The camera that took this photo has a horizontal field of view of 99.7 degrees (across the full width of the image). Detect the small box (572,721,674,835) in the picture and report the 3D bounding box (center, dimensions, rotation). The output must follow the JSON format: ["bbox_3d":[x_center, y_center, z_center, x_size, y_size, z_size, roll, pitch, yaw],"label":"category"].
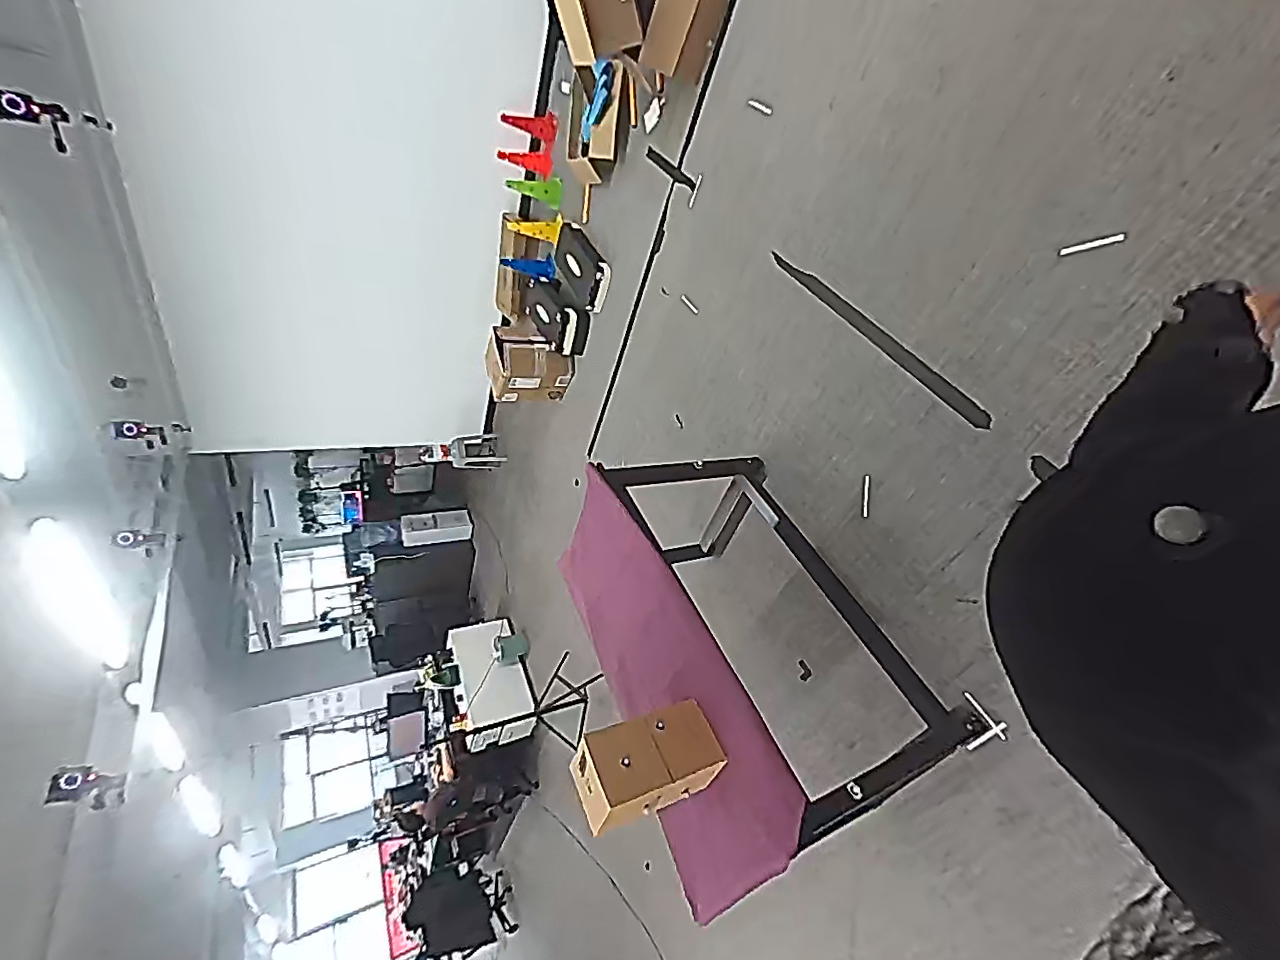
[{"bbox_3d":[-0.044,0.712,1.313,0.179,0.176,0.168,56,140,40],"label":"small box"}]

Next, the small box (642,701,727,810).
[{"bbox_3d":[0.098,0.705,1.396,0.179,0.176,0.168,57,140,40],"label":"small box"}]
